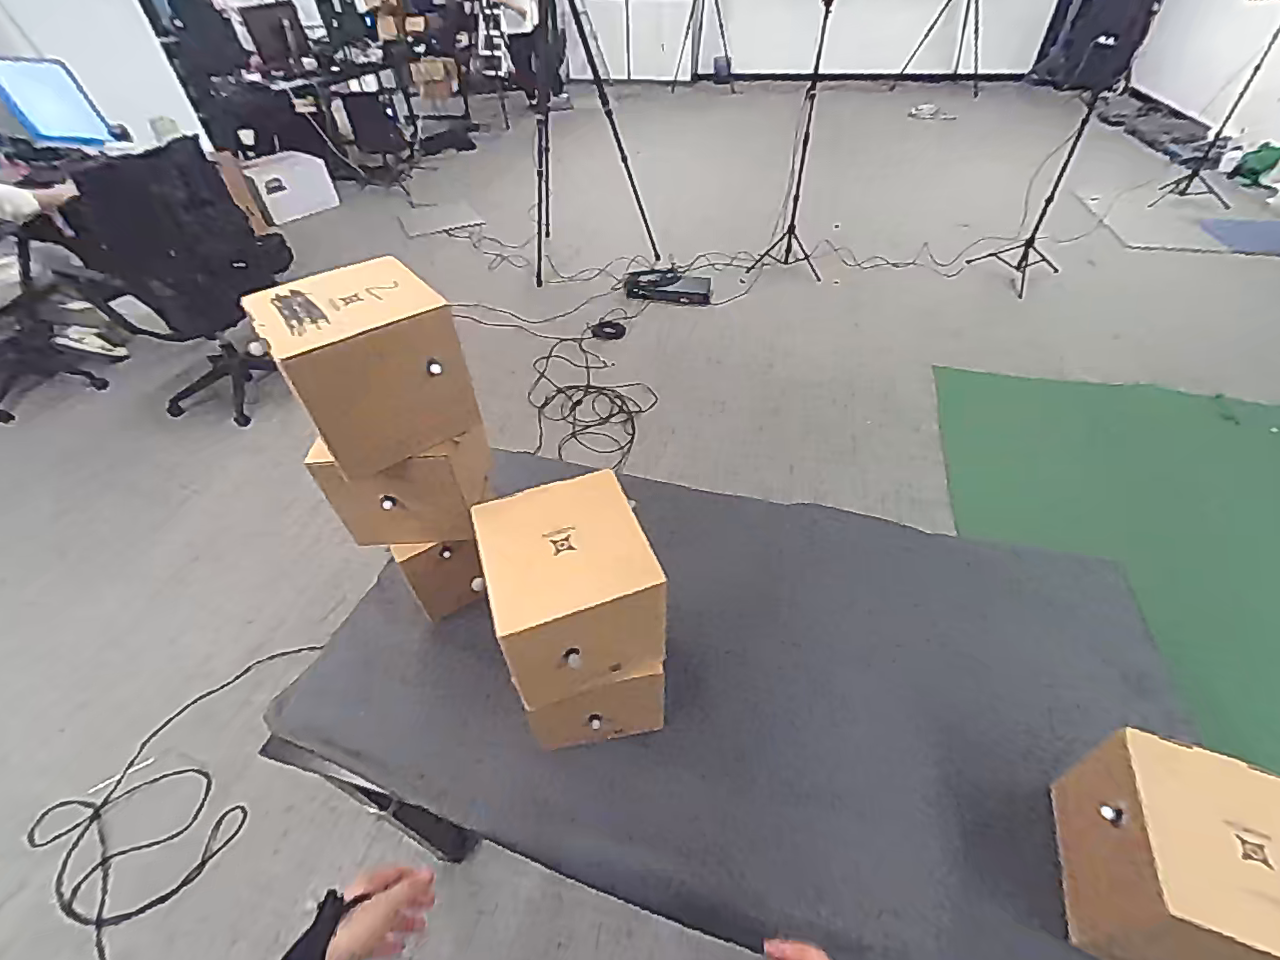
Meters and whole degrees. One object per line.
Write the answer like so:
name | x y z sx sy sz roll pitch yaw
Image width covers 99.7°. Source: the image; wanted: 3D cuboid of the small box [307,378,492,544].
small box | -0.321 -0.025 0.770 0.179 0.176 0.168 -4 46 -1

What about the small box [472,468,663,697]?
small box | -0.077 0.121 0.614 0.168 0.176 0.179 -17 46 -13

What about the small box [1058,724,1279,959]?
small box | 0.550 0.388 0.535 0.168 0.176 0.179 14 44 19

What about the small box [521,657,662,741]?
small box | -0.065 0.232 0.731 0.168 0.176 0.179 -8 44 -6

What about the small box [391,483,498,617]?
small box | -0.314 0.089 0.890 0.168 0.176 0.179 -27 50 -22
